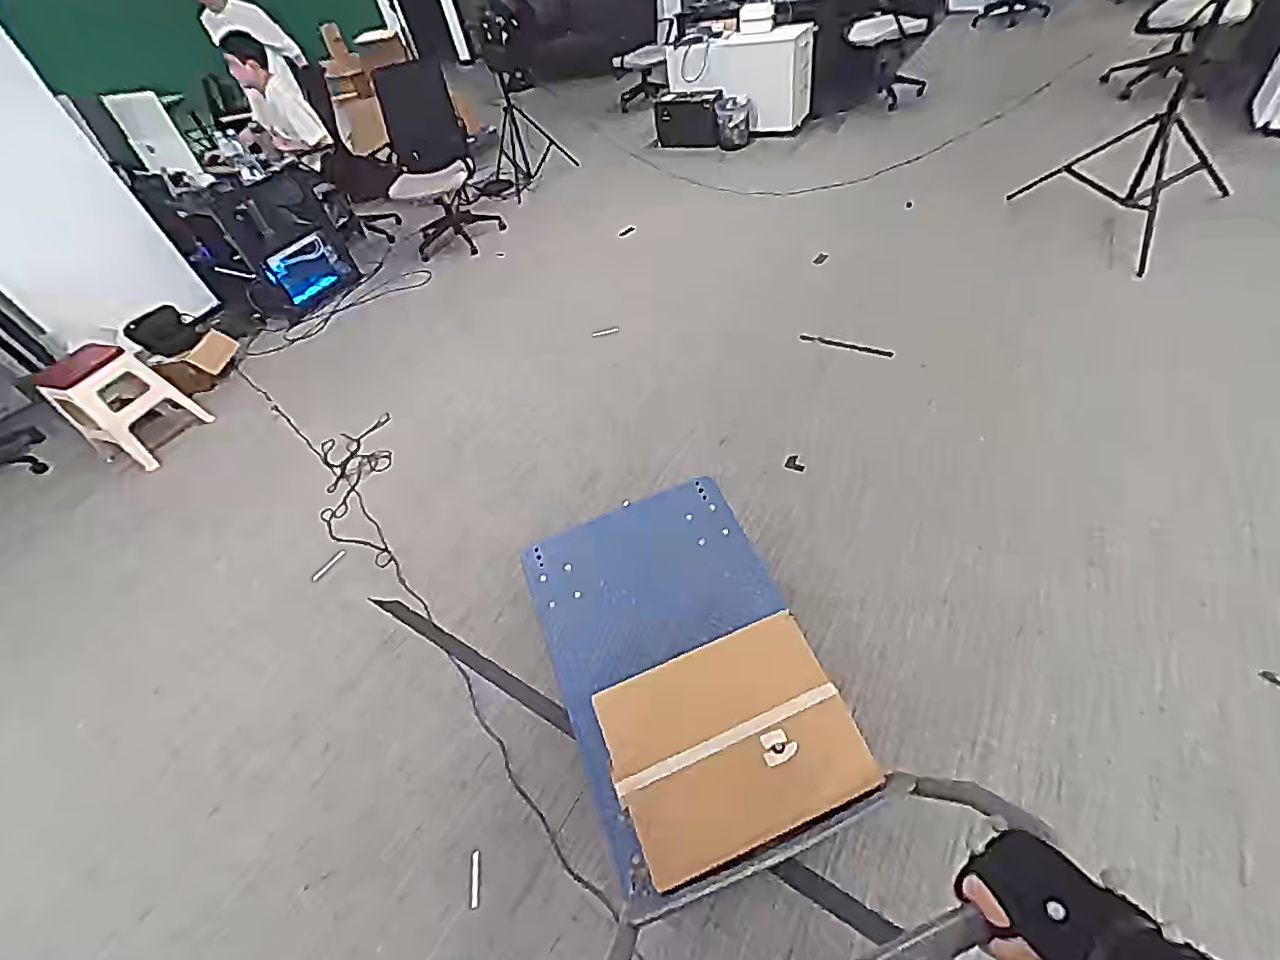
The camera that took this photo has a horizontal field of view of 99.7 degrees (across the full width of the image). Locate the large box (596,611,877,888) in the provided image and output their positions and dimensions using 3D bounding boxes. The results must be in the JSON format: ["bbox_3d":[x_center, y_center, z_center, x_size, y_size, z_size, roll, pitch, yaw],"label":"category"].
[{"bbox_3d":[0.170,0.521,1.067,0.408,0.320,0.320,-22,60,-7],"label":"large box"}]
